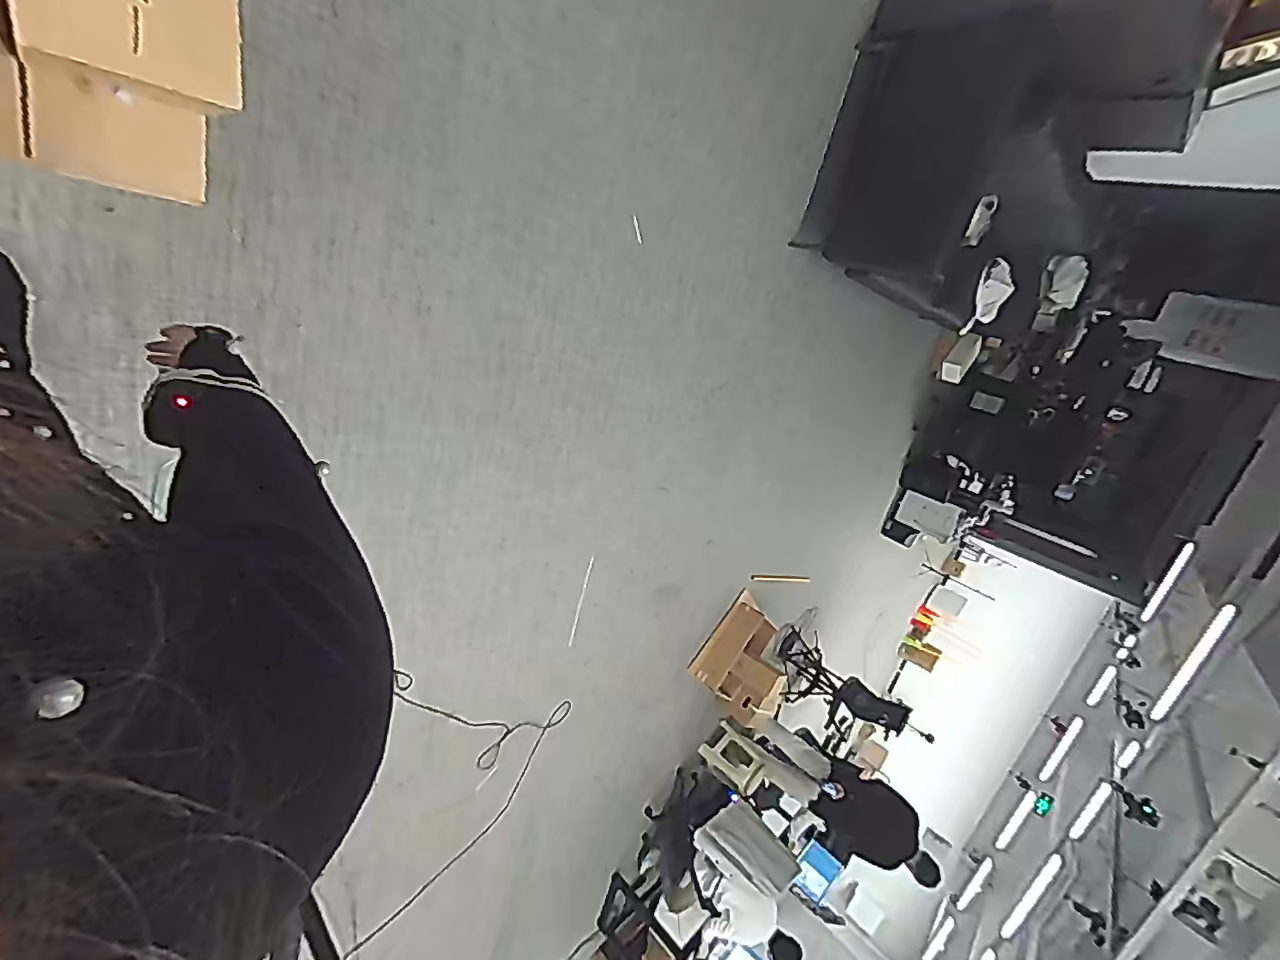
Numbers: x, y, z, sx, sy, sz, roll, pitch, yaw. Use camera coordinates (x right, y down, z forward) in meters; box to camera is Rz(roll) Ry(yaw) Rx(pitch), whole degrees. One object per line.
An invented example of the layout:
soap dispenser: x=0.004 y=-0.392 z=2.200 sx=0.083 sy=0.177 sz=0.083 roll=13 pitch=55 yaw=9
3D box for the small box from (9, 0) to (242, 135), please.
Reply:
small box: x=-0.535 y=-0.486 z=0.563 sx=0.168 sy=0.176 sz=0.179 roll=-8 pitch=119 yaw=-45
